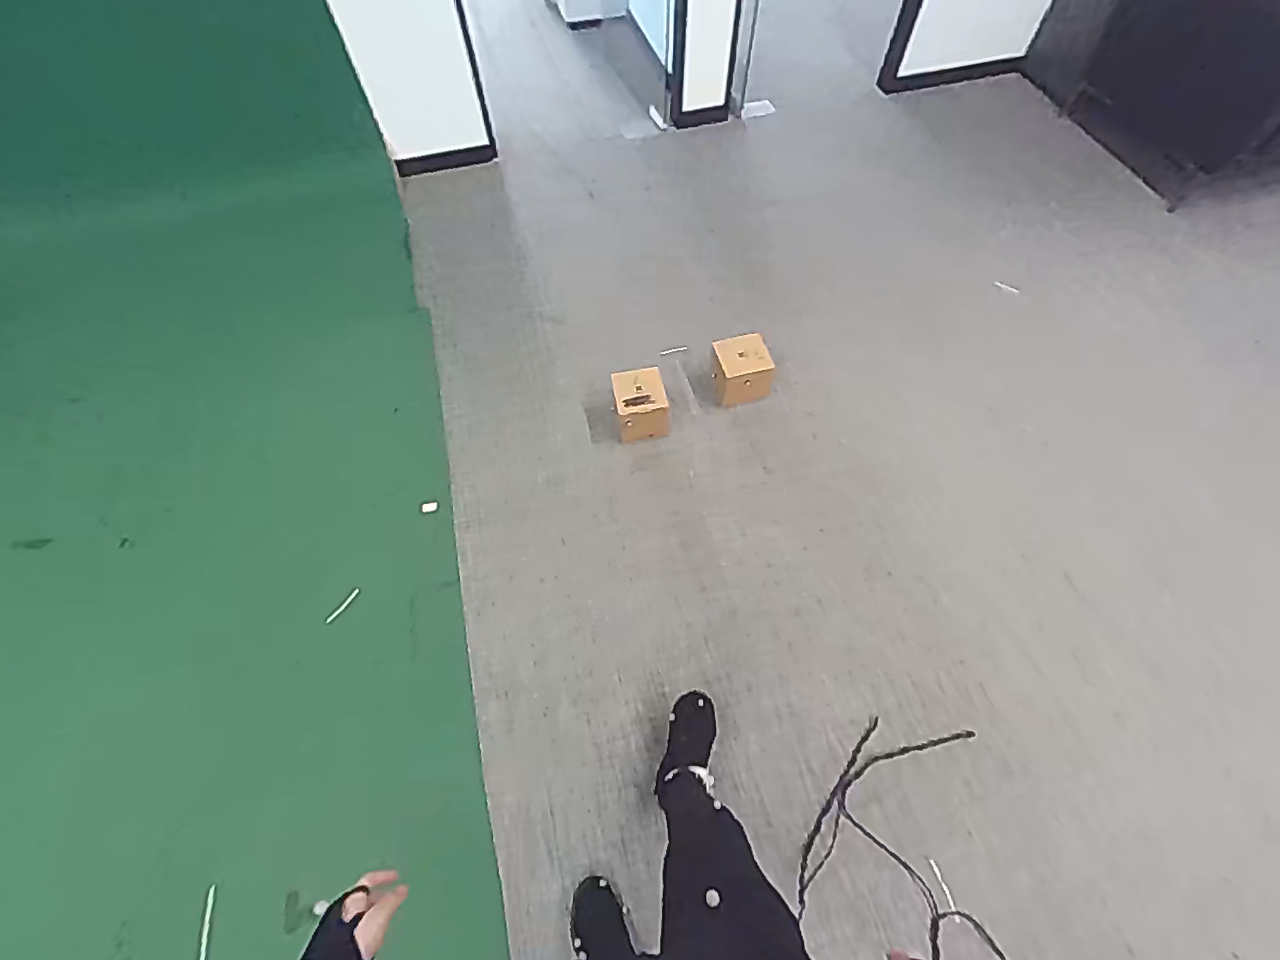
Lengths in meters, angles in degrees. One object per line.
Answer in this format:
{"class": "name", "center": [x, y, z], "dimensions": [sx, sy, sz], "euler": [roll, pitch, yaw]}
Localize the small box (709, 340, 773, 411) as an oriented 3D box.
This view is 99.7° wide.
{"class": "small box", "center": [0.349, -0.365, 1.914], "dimensions": [0.179, 0.176, 0.168], "euler": [-13, 61, -8]}
